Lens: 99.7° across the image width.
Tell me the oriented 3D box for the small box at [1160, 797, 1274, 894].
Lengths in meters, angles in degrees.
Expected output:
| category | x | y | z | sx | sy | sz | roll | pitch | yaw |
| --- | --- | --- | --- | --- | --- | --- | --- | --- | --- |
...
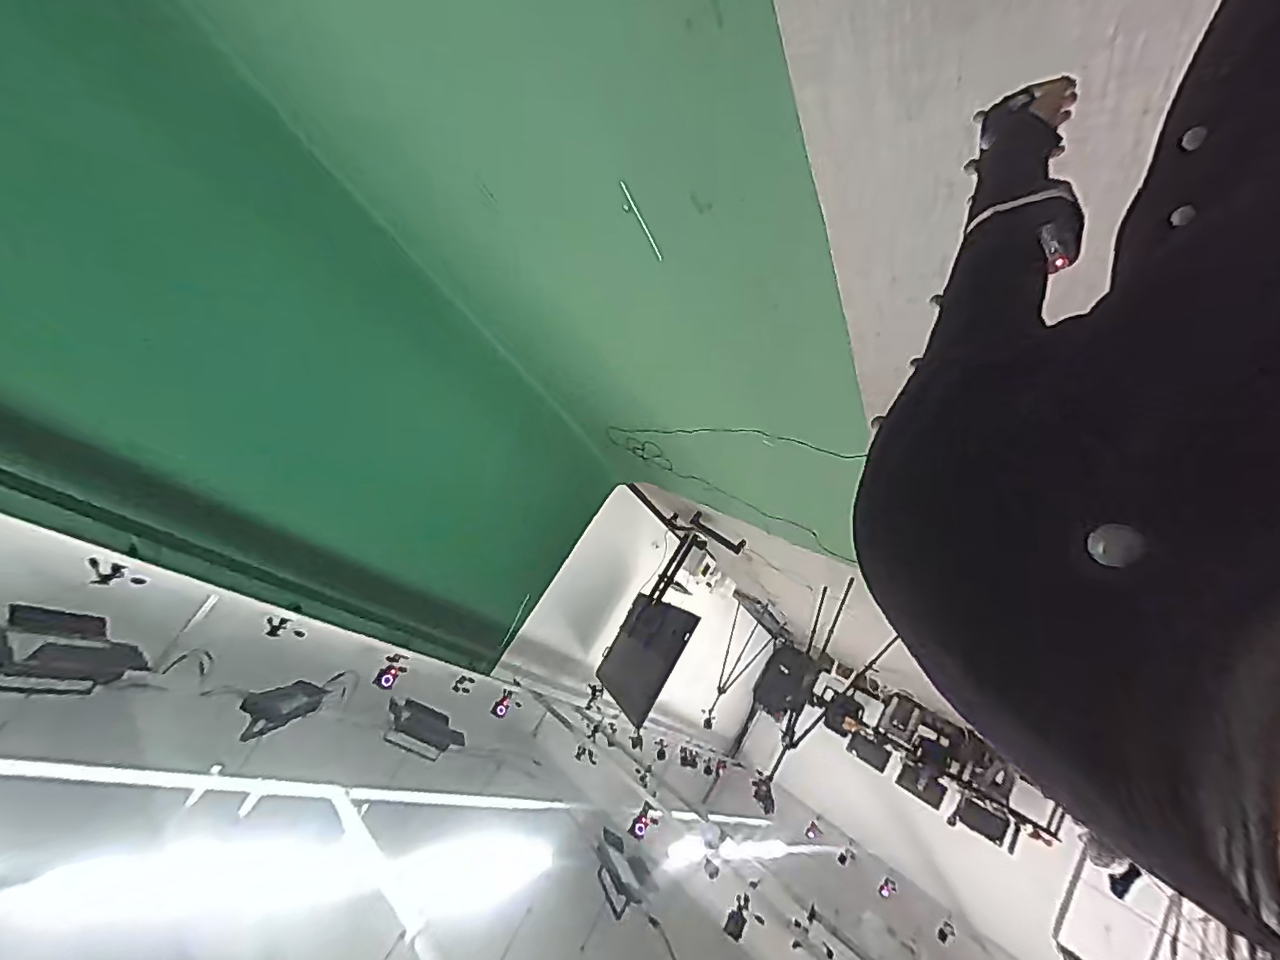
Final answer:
| category | x | y | z | sx | sy | sz | roll | pitch | yaw |
| --- | --- | --- | --- | --- | --- | --- | --- | --- | --- |
| small box | 1.640 | 1.034 | 1.542 | 0.179 | 0.176 | 0.168 | 21 | 162 | 44 |
